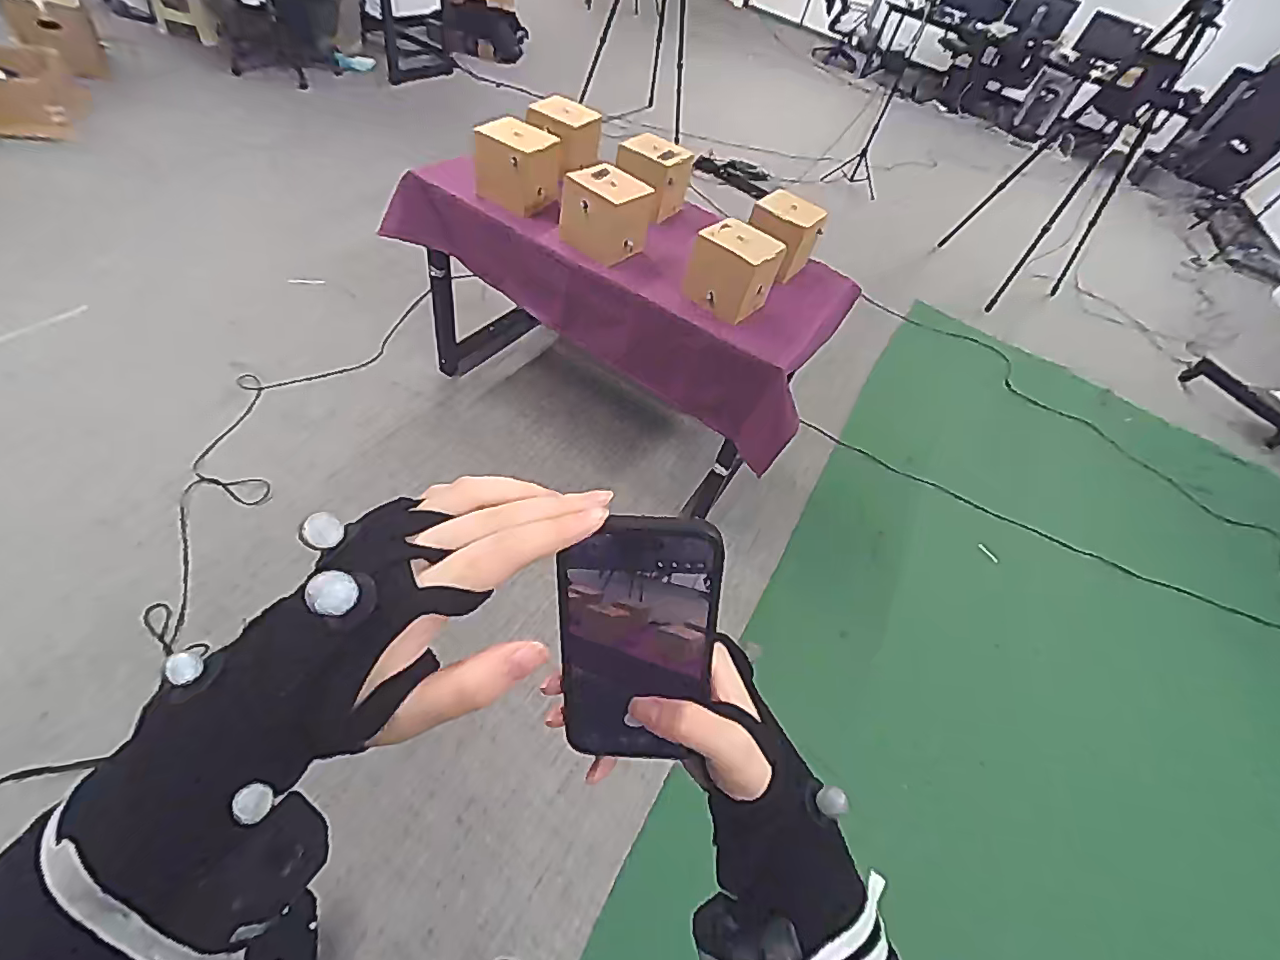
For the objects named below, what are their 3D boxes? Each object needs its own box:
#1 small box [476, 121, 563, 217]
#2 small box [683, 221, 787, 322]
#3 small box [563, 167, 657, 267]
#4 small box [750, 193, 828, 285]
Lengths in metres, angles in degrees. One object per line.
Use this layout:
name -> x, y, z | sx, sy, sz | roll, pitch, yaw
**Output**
small box -> -0.340, -0.870, 1.514 | 0.179, 0.176, 0.168 | 28, 49, 7
small box -> 0.238, -0.528, 1.387 | 0.179, 0.176, 0.168 | 38, 51, 16
small box -> -0.087, -0.699, 1.441 | 0.179, 0.176, 0.168 | 37, 52, 15
small box -> 0.414, -0.703, 1.579 | 0.168, 0.176, 0.179 | 34, 52, 15
